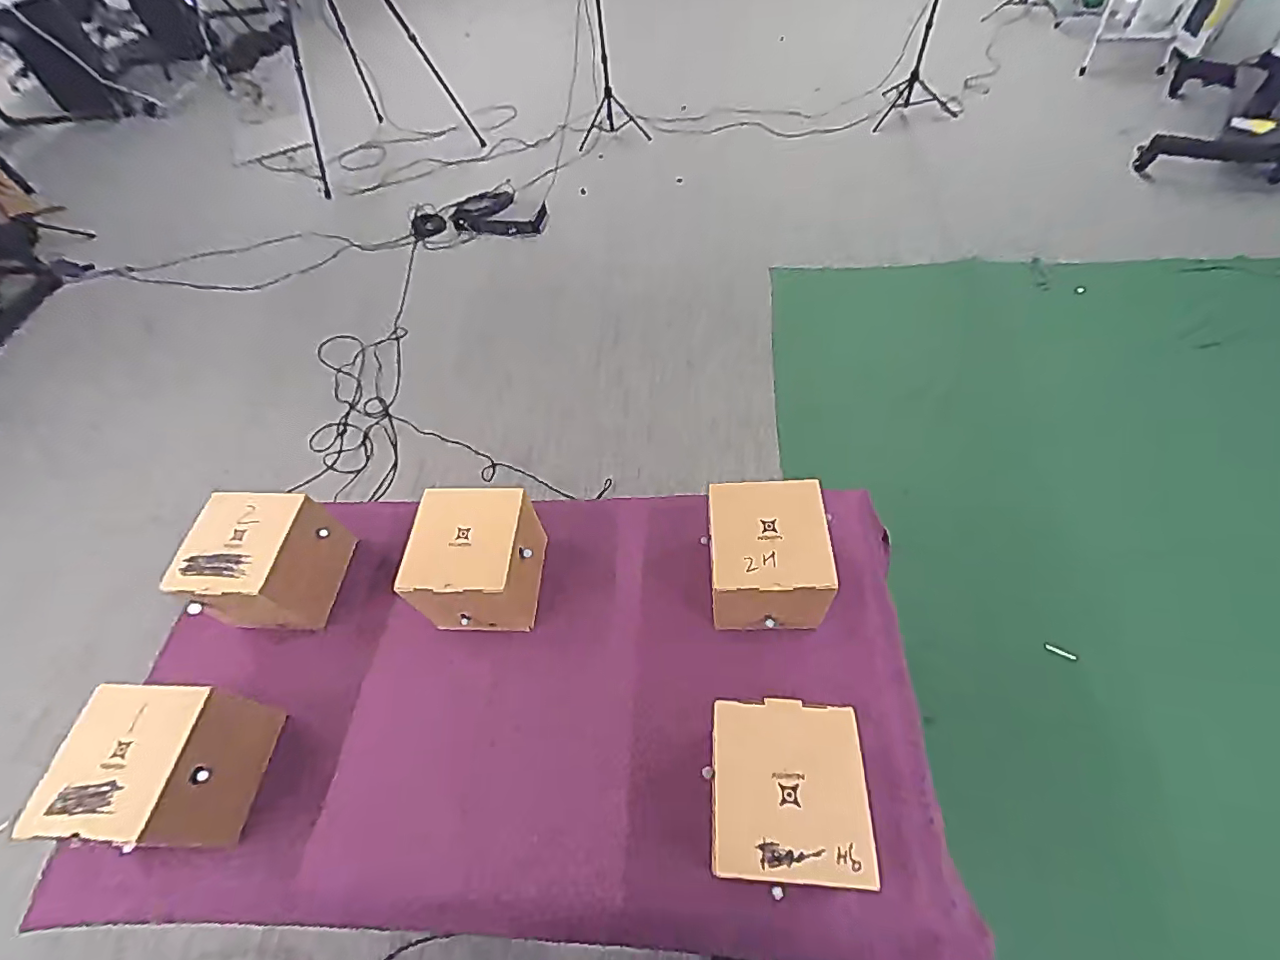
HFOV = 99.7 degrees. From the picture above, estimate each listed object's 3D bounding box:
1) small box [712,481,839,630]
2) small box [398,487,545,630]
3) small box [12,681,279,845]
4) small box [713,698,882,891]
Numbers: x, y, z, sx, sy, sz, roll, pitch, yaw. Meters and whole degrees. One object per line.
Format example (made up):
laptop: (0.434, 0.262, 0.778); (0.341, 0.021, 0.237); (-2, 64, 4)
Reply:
small box: (0.196, 0.120, 0.837); (0.168, 0.176, 0.179); (-3, 56, 7)
small box: (-0.257, 0.129, 0.878); (0.168, 0.176, 0.179); (0, 57, 5)
small box: (-0.639, 0.385, 0.732); (0.168, 0.176, 0.179); (0, 55, 5)
small box: (0.174, 0.384, 0.659); (0.168, 0.176, 0.179); (1, 53, 7)
